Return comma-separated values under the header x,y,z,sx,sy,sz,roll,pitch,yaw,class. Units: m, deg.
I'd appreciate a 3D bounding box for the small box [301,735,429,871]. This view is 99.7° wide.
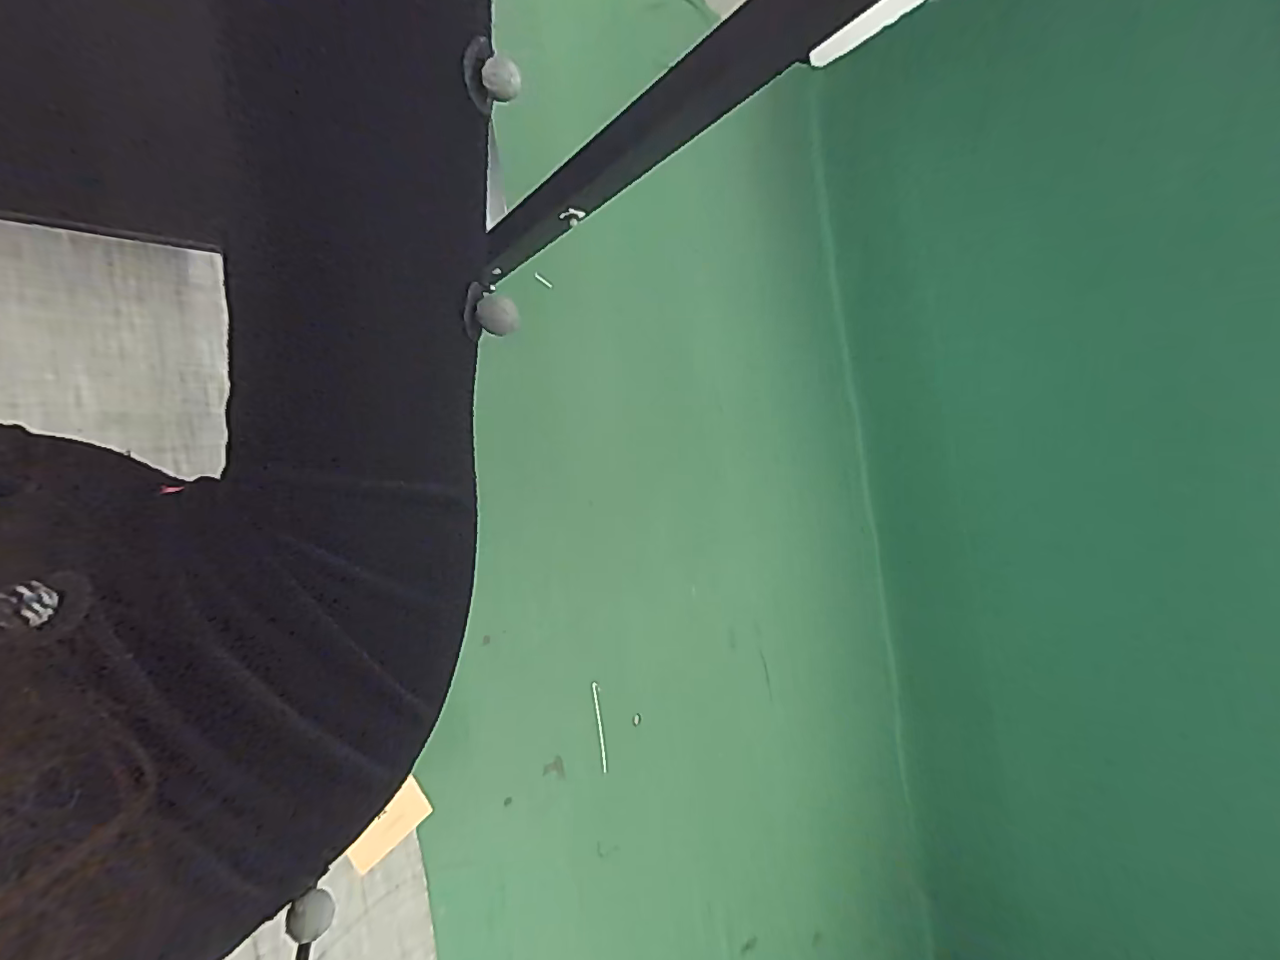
x,y,z,sx,sy,sz,roll,pitch,yaw,class
-0.597,0.680,1.168,0.168,0.176,0.179,-34,109,-39,small box
